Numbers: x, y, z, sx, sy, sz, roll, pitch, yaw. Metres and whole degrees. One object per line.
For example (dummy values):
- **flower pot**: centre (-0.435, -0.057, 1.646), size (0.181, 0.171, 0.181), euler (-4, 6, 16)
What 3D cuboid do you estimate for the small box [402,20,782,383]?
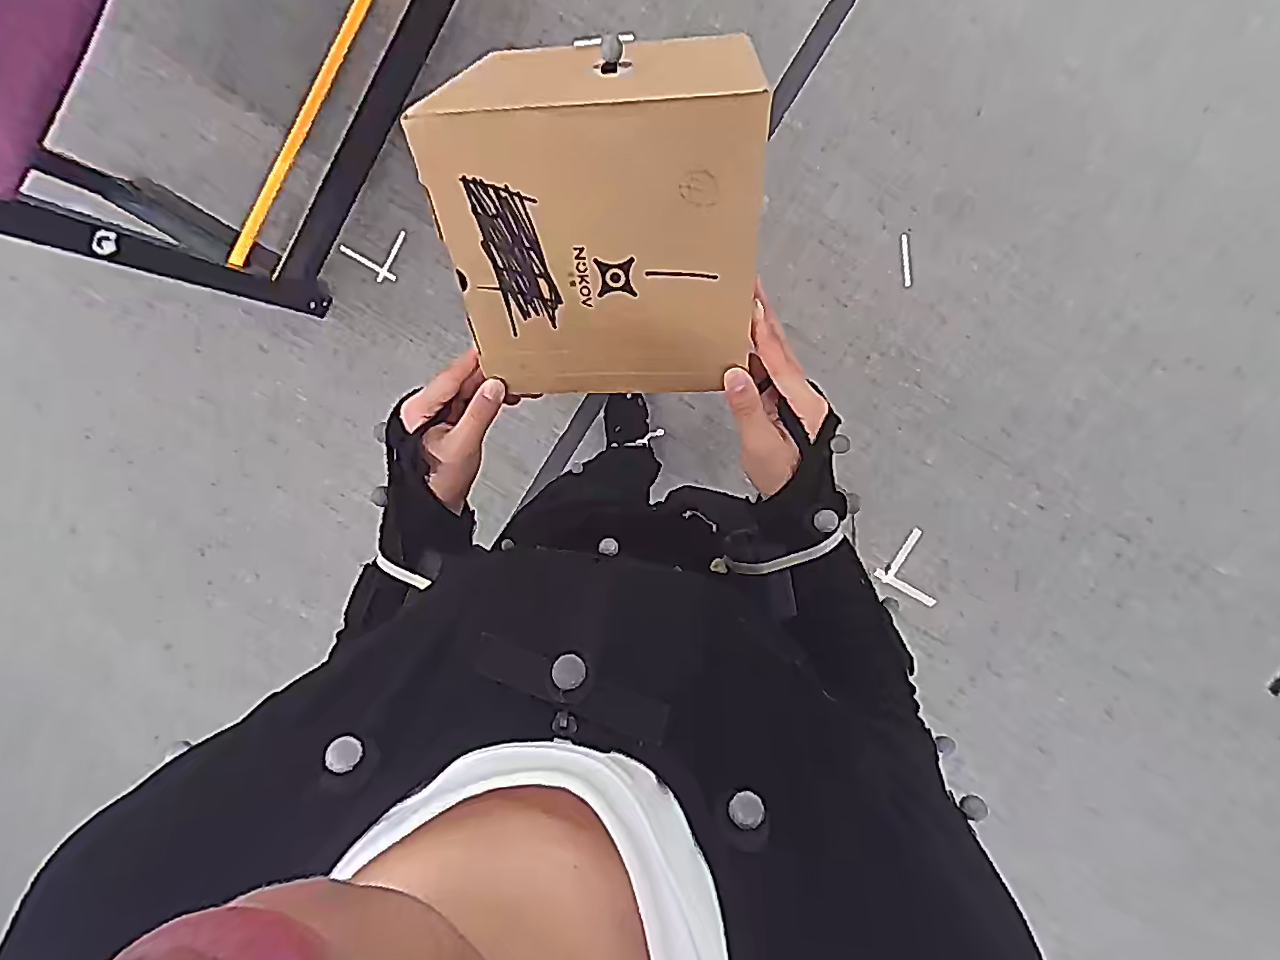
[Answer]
- **small box**: centre (-0.015, -0.179, 0.351), size (0.179, 0.176, 0.168), euler (0, 136, 5)

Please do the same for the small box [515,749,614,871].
- **small box**: centre (-0.185, 0.826, 1.377), size (0.179, 0.176, 0.168), euler (37, 97, -4)
